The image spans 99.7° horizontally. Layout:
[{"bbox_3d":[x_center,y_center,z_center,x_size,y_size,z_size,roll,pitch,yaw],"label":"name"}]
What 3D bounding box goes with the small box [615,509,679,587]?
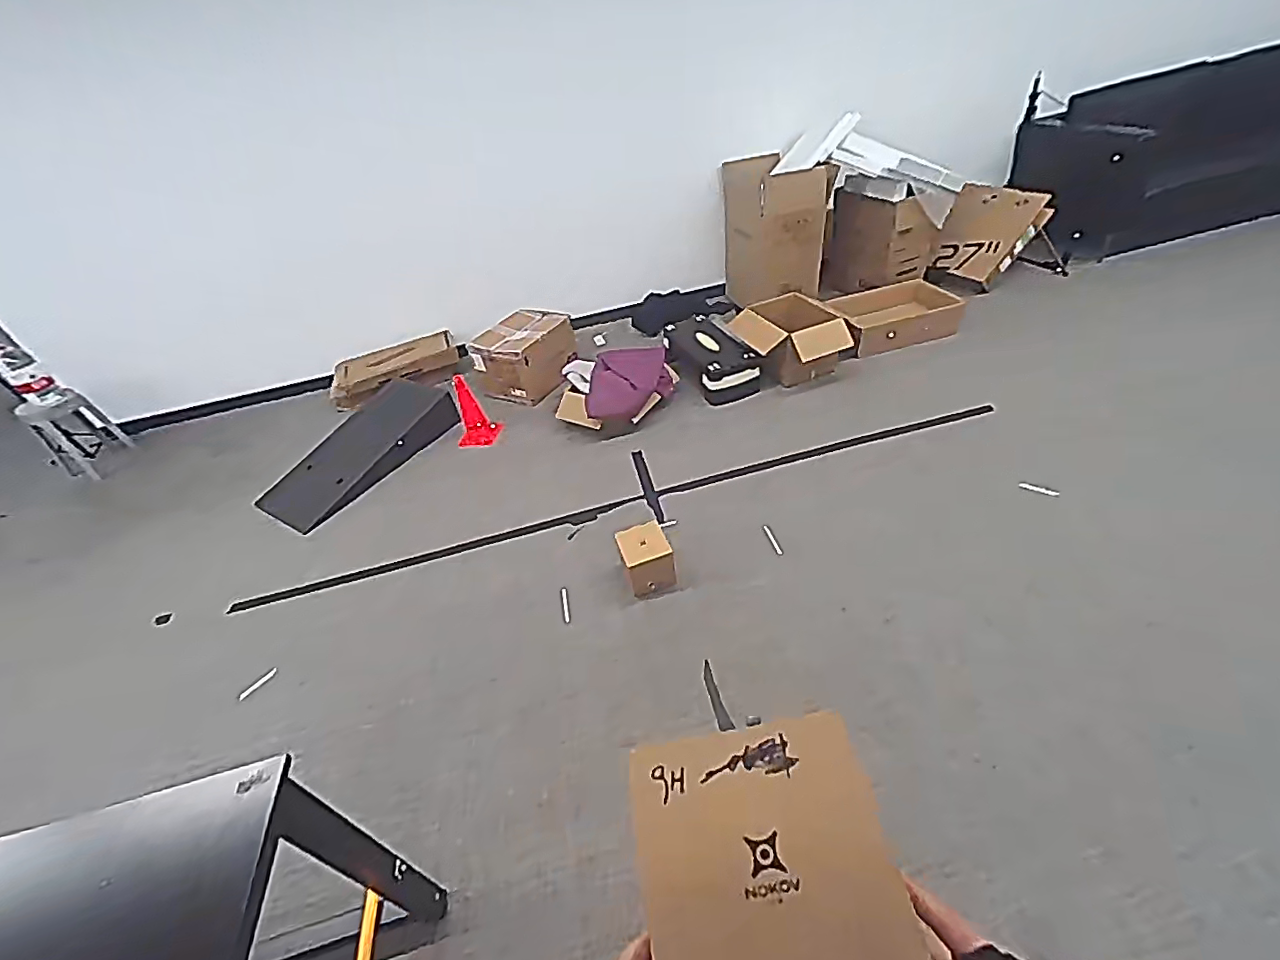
[{"bbox_3d":[0.024,0.235,1.861,0.168,0.176,0.179,-19,42,-9],"label":"small box"}]
